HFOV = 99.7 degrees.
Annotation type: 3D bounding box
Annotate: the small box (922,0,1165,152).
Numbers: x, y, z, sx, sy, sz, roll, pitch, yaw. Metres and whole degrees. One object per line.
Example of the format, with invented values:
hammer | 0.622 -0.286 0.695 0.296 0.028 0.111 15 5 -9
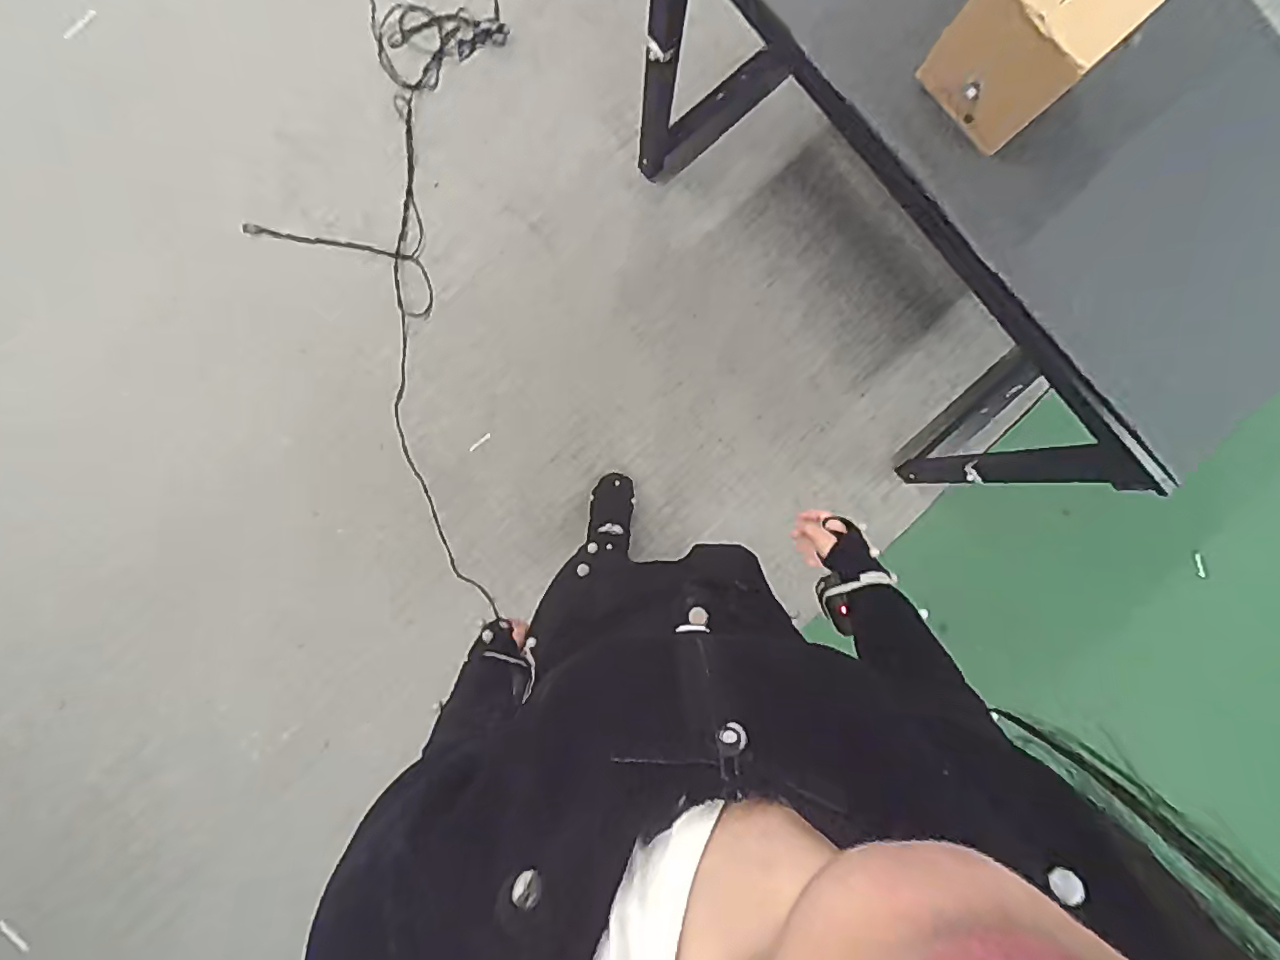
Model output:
small box | 0.522 -0.590 0.712 0.179 0.176 0.168 -42 91 -3
